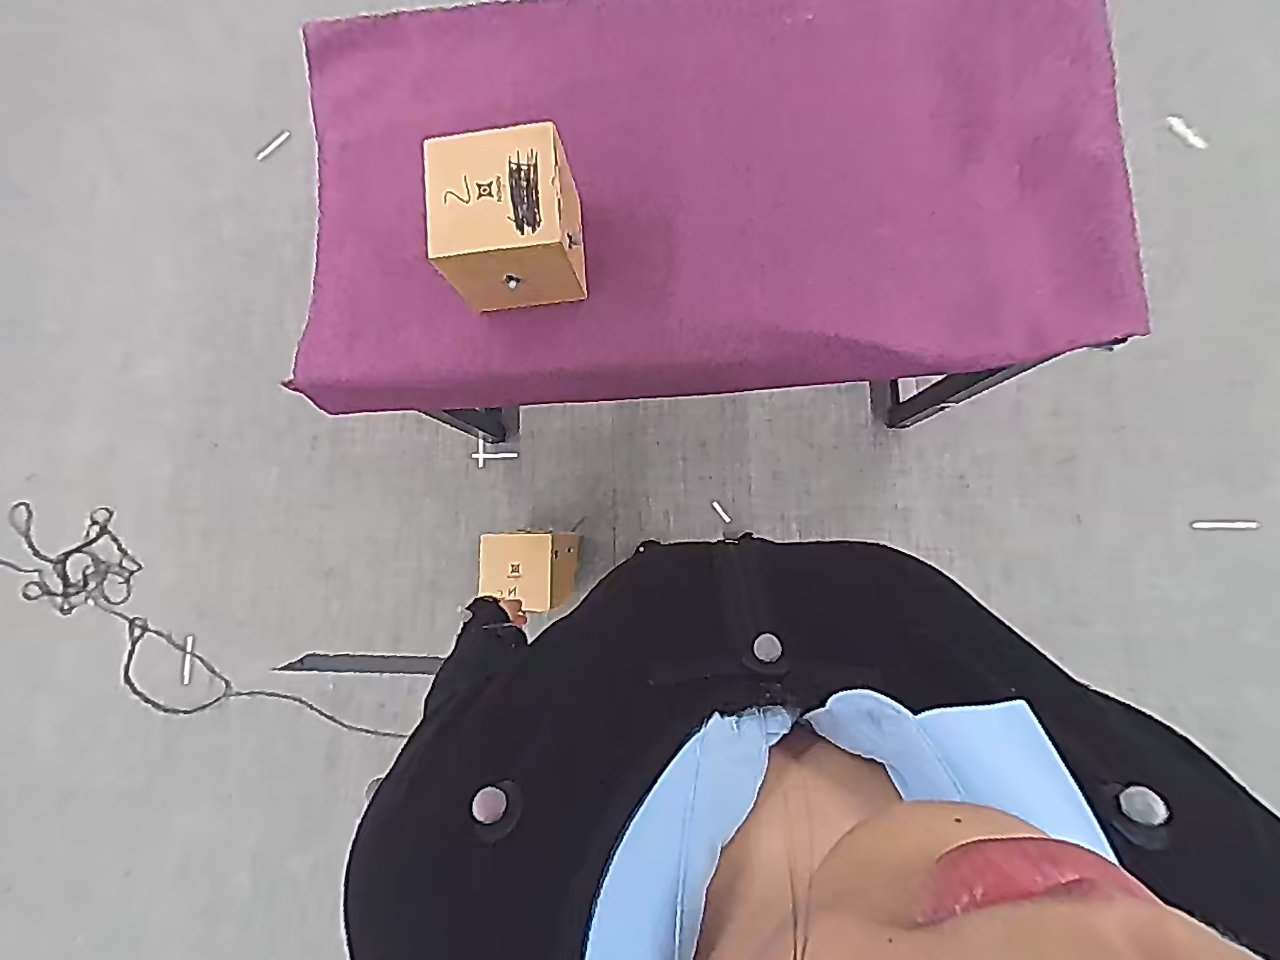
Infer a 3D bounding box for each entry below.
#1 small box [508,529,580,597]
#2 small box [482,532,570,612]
[{"bbox_3d":[-0.261,0.227,1.455,0.168,0.176,0.179,5,85,5],"label":"small box"},{"bbox_3d":[-0.266,0.214,1.290,0.168,0.176,0.179,0,85,5],"label":"small box"}]
